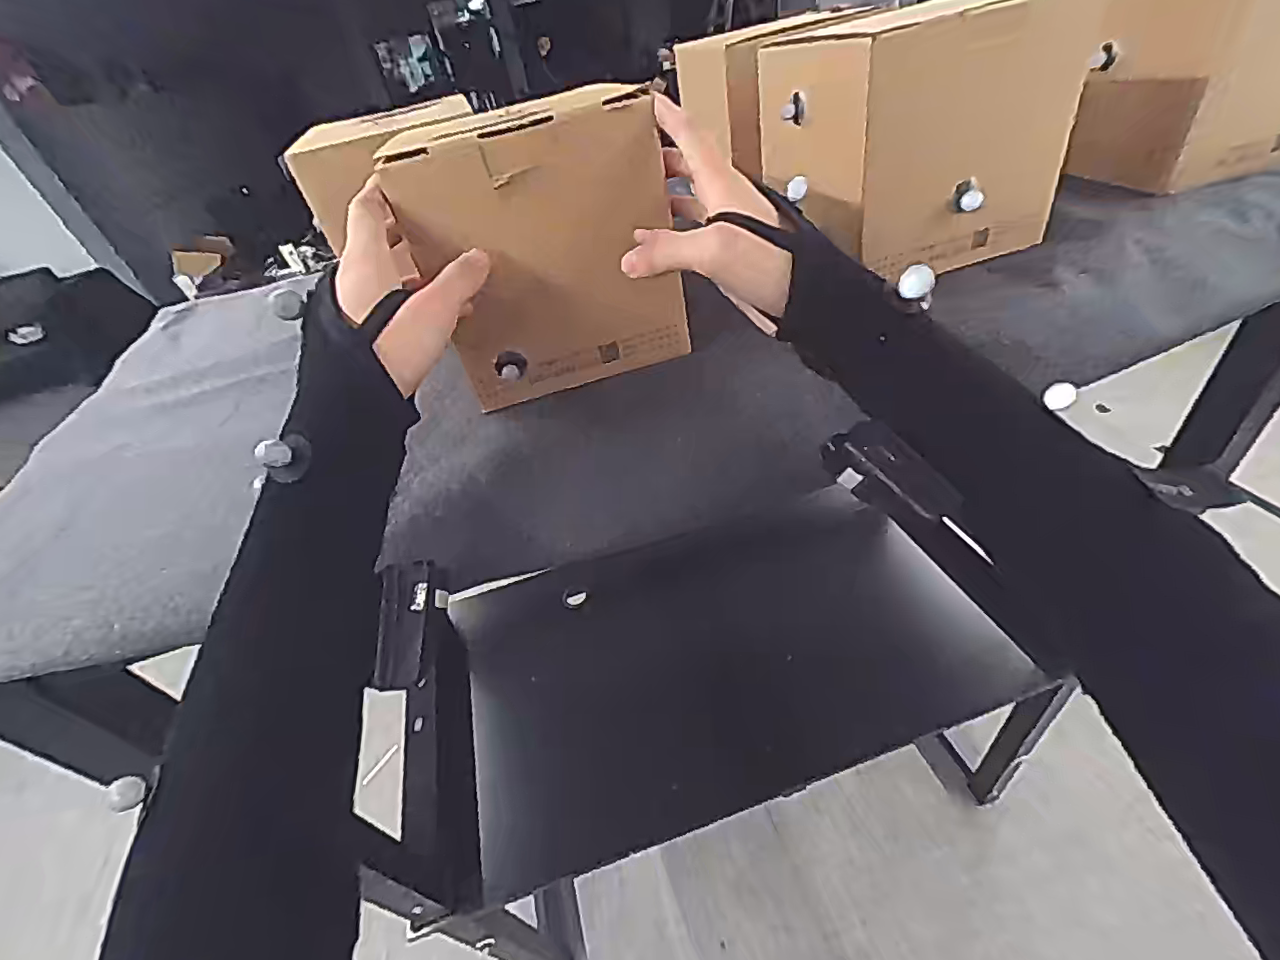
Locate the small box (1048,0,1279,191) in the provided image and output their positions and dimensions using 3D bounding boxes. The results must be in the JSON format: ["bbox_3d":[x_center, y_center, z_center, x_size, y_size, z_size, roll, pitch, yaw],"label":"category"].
[{"bbox_3d":[0.496,-0.379,0.490,0.168,0.176,0.179,-17,39,-3],"label":"small box"}]

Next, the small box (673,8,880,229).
[{"bbox_3d":[0.156,-0.425,0.643,0.179,0.176,0.168,-20,39,-3],"label":"small box"}]

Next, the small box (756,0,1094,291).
[{"bbox_3d":[0.207,-0.277,0.450,0.168,0.176,0.179,-18,39,-4],"label":"small box"}]

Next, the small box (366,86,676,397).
[{"bbox_3d":[-0.079,-0.181,0.419,0.168,0.176,0.179,-17,39,-3],"label":"small box"}]
